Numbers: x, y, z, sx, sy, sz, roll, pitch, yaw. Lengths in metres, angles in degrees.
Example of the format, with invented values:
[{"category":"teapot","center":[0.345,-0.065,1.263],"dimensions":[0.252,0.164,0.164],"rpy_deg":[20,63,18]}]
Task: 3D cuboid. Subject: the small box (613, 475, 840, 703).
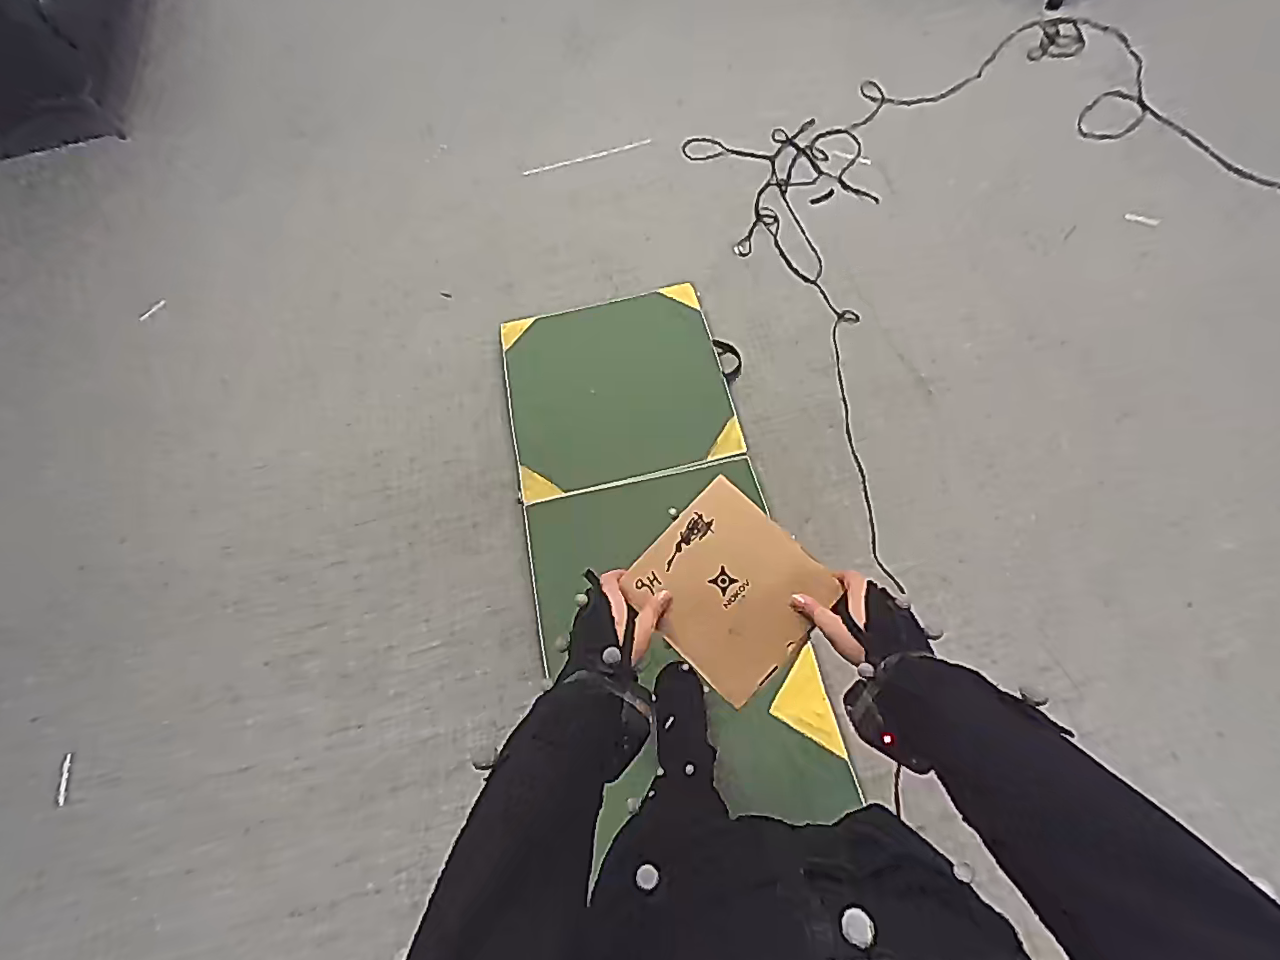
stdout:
[{"category":"small box","center":[0.093,0.122,0.633],"dimensions":[0.179,0.176,0.168],"rpy_deg":[44,84,11]}]
